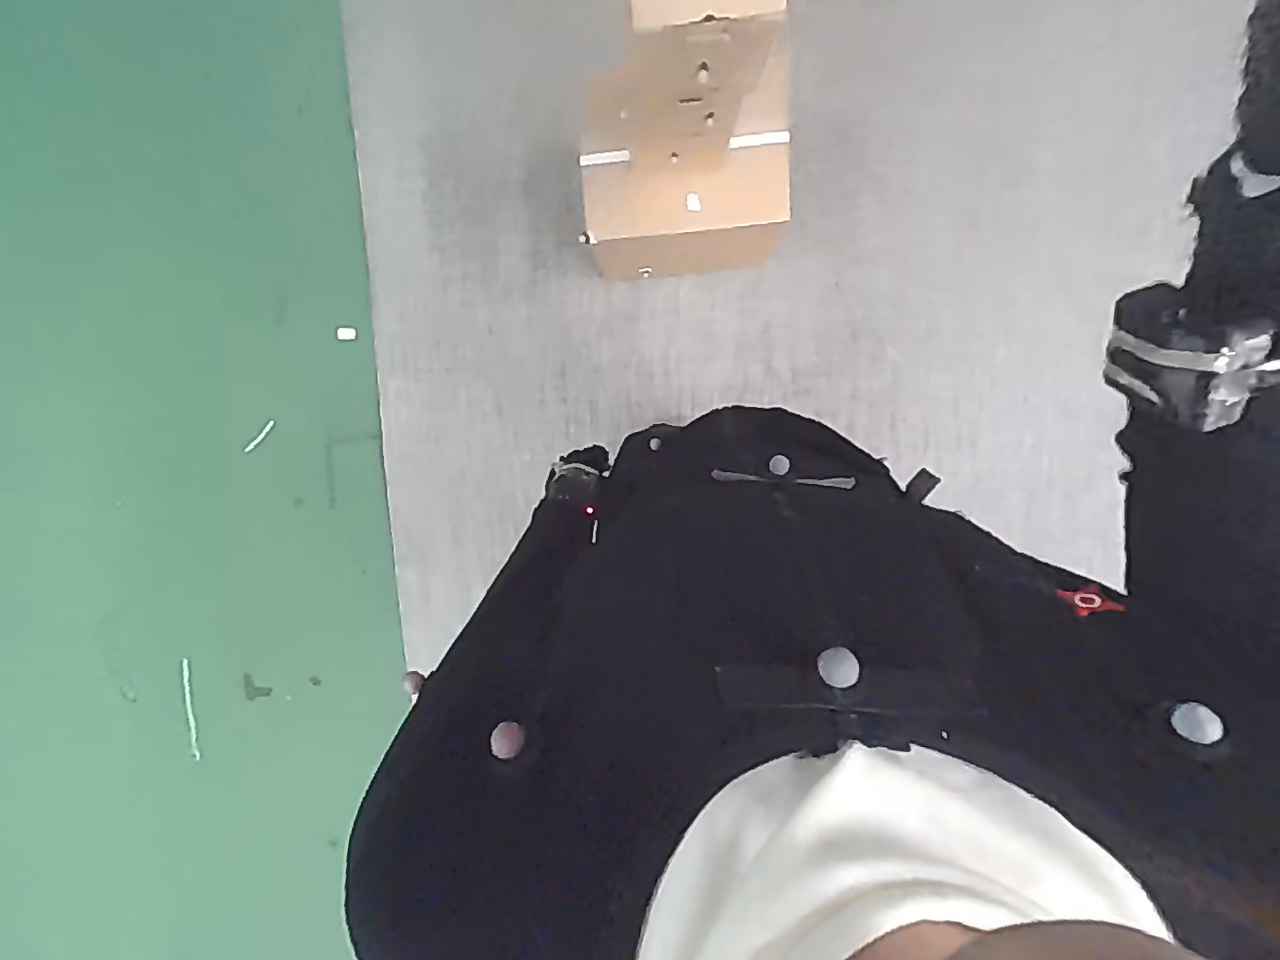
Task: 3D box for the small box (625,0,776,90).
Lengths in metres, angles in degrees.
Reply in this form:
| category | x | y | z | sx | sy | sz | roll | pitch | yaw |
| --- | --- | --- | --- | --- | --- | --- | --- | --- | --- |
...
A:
| category | x | y | z | sx | sy | sz | roll | pitch | yaw |
| --- | --- | --- | --- | --- | --- | --- | --- | --- | --- |
| small box | 0.066 | -0.597 | 0.644 | 0.168 | 0.176 | 0.179 | -4 | 103 | 3 |

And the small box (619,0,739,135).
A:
| category | x | y | z | sx | sy | sz | roll | pitch | yaw |
| --- | --- | --- | --- | --- | --- | --- | --- | --- | --- |
| small box | 0.058 | -0.638 | 0.802 | 0.168 | 0.176 | 0.179 | -4 | 101 | 2 |

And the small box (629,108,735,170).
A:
| category | x | y | z | sx | sy | sz | roll | pitch | yaw |
| --- | --- | --- | --- | --- | --- | --- | --- | --- | --- |
| small box | 0.066 | -0.673 | 0.960 | 0.179 | 0.176 | 0.168 | -5 | 103 | 4 |
